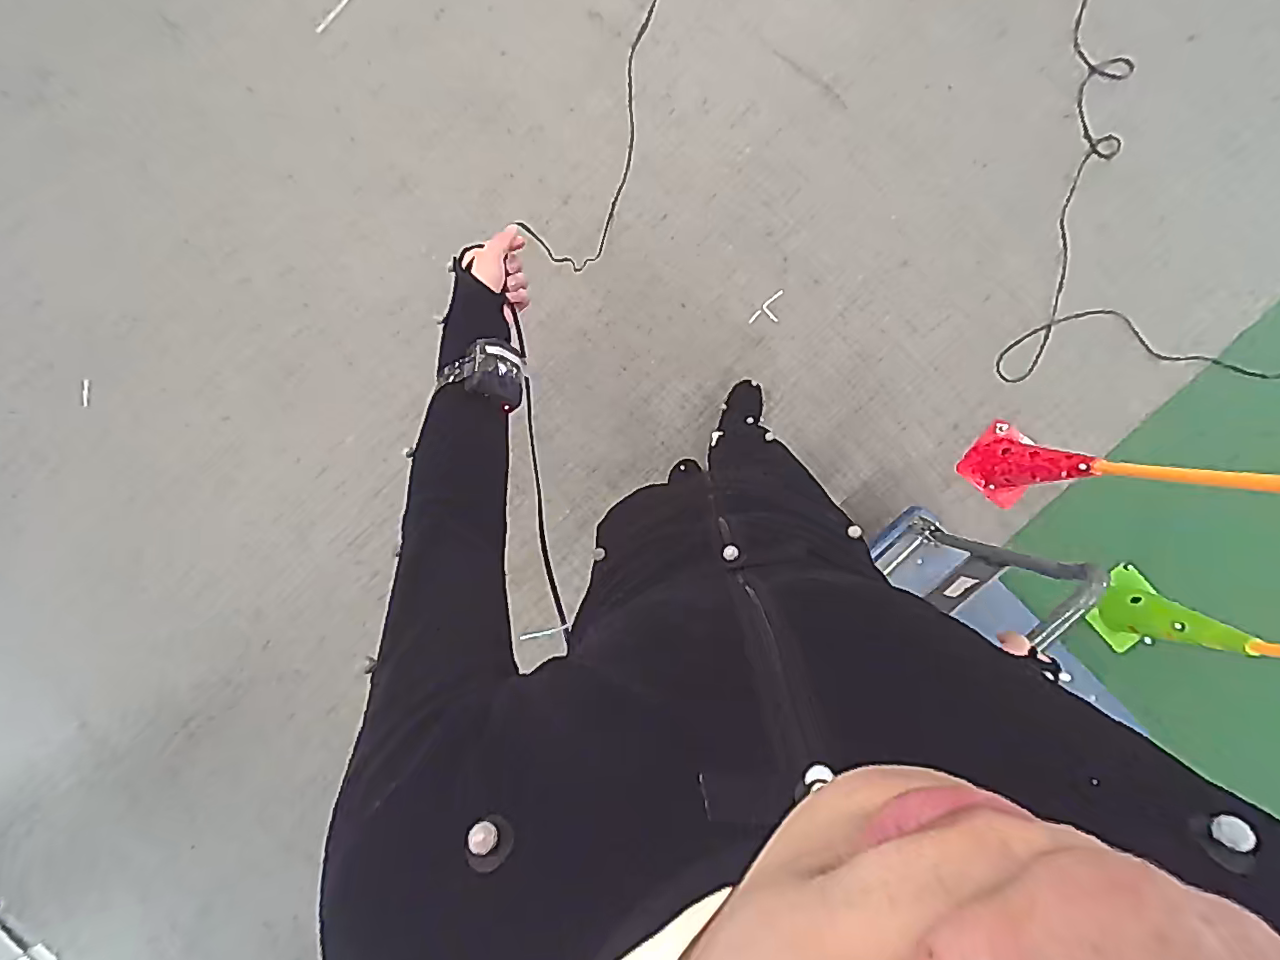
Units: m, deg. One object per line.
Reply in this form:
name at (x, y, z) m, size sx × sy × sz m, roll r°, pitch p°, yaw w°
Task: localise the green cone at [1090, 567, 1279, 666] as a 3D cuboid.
green cone at (1.408, 0.382, 1.369) m, size 0.200 × 0.368 × 0.202 m, roll -44°, pitch 91°, yaw 3°
